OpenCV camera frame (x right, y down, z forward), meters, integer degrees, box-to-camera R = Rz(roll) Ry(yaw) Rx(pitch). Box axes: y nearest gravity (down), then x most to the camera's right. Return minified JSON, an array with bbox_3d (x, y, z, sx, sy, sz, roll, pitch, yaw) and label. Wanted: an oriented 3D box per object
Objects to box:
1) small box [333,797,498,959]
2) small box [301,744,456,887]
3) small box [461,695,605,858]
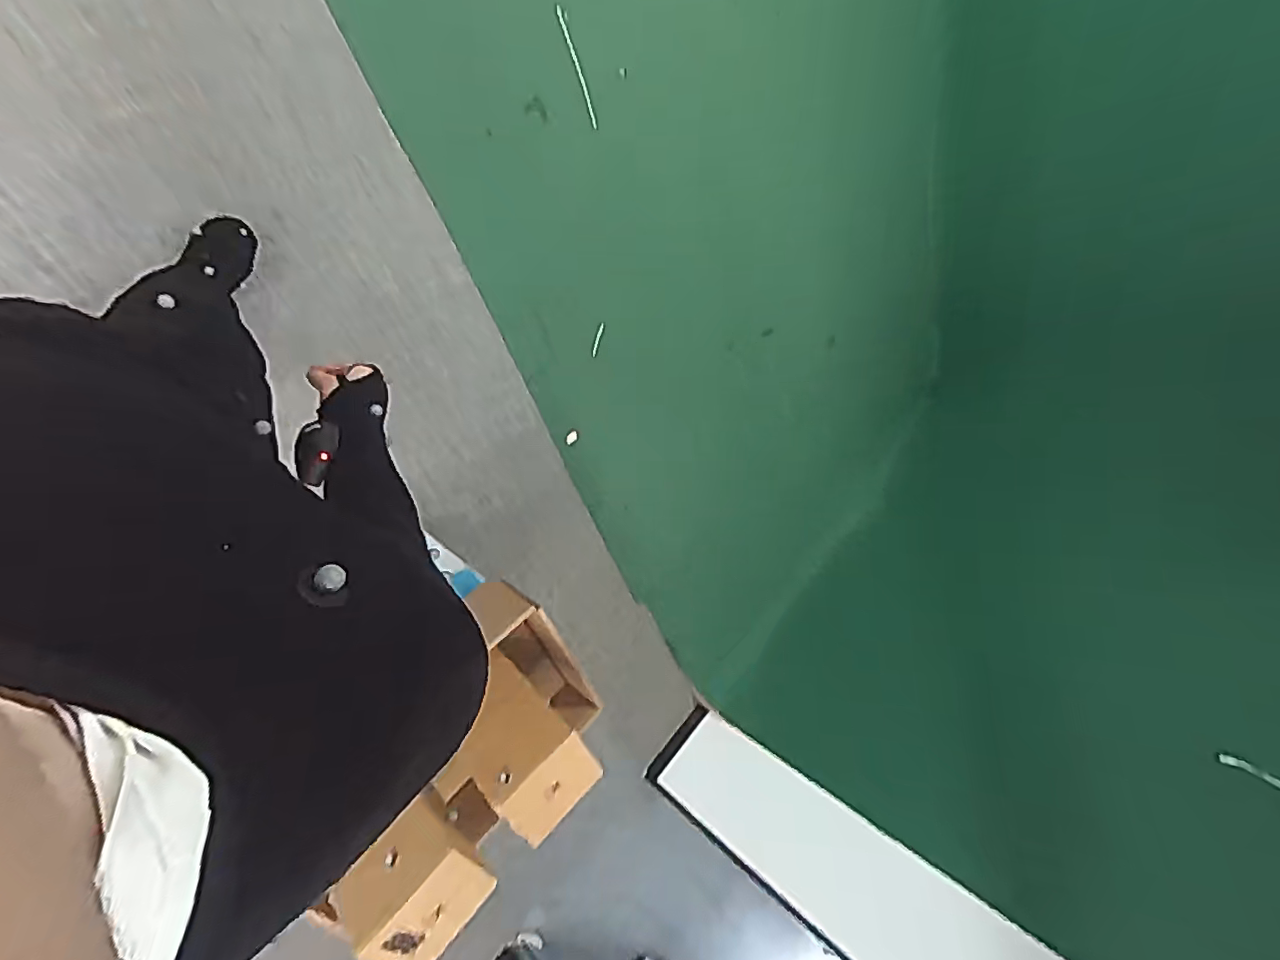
[{"bbox_3d":[-0.376,0.679,0.894,0.179,0.176,0.168,-42,130,-27],"label":"small box"},{"bbox_3d":[-0.487,0.636,1.007,0.179,0.176,0.168,-41,129,-28],"label":"small box"},{"bbox_3d":[-0.202,0.547,1.018,0.179,0.176,0.168,-39,128,-24],"label":"small box"}]
